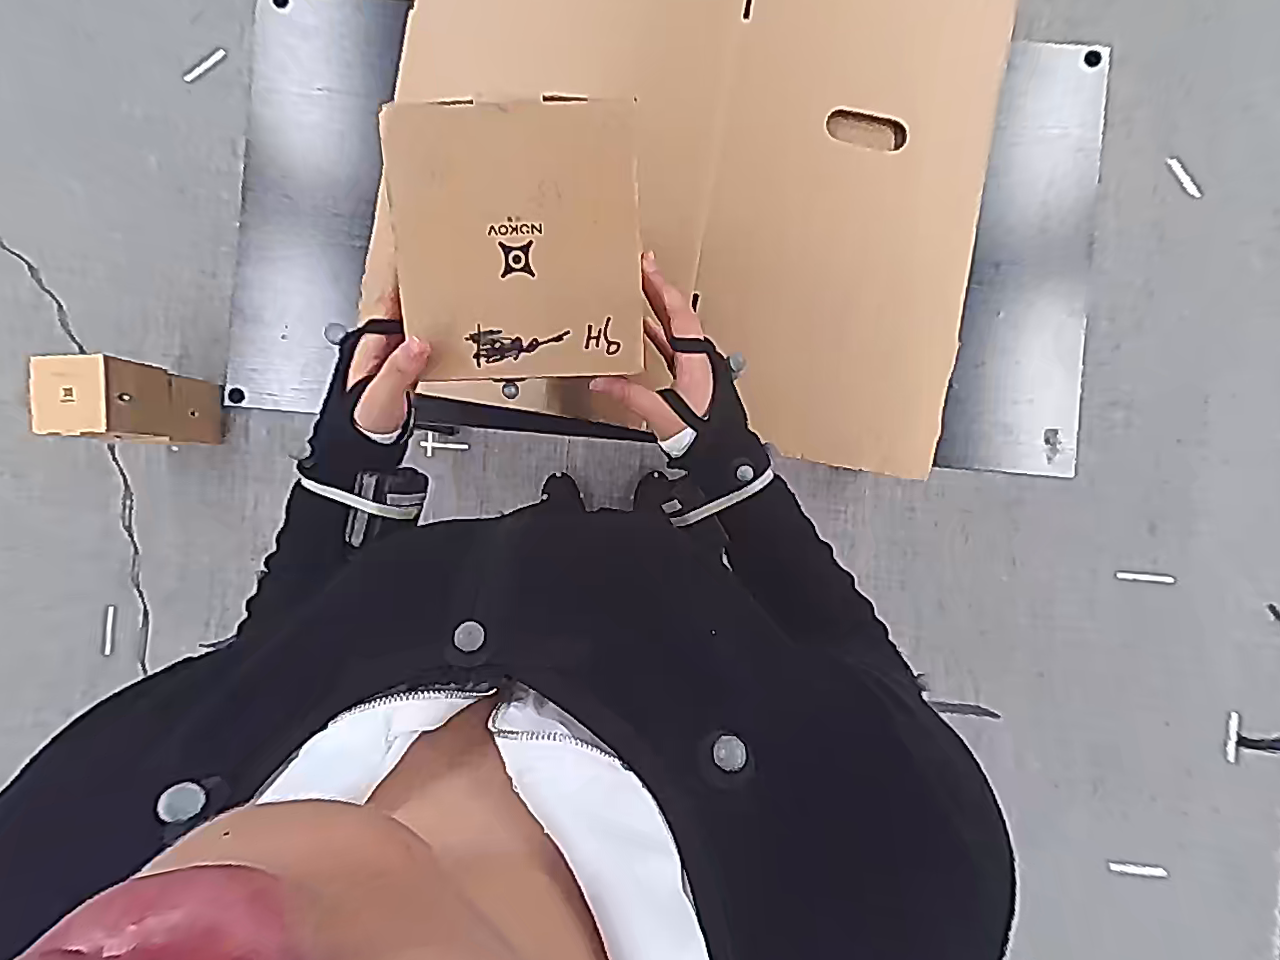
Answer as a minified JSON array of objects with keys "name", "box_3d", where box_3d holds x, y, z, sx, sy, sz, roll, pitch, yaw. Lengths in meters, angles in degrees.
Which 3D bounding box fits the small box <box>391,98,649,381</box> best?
[{"name":"small box","box_3d":[-0.077,-0.172,0.439,0.168,0.176,0.179,-1,101,1]}]

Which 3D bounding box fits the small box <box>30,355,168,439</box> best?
[{"name":"small box","box_3d":[-1.257,-0.187,1.269,0.168,0.176,0.179,-2,89,0]}]

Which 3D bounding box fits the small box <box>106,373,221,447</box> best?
[{"name":"small box","box_3d":[-1.254,-0.181,1.431,0.168,0.176,0.179,1,91,1]}]
